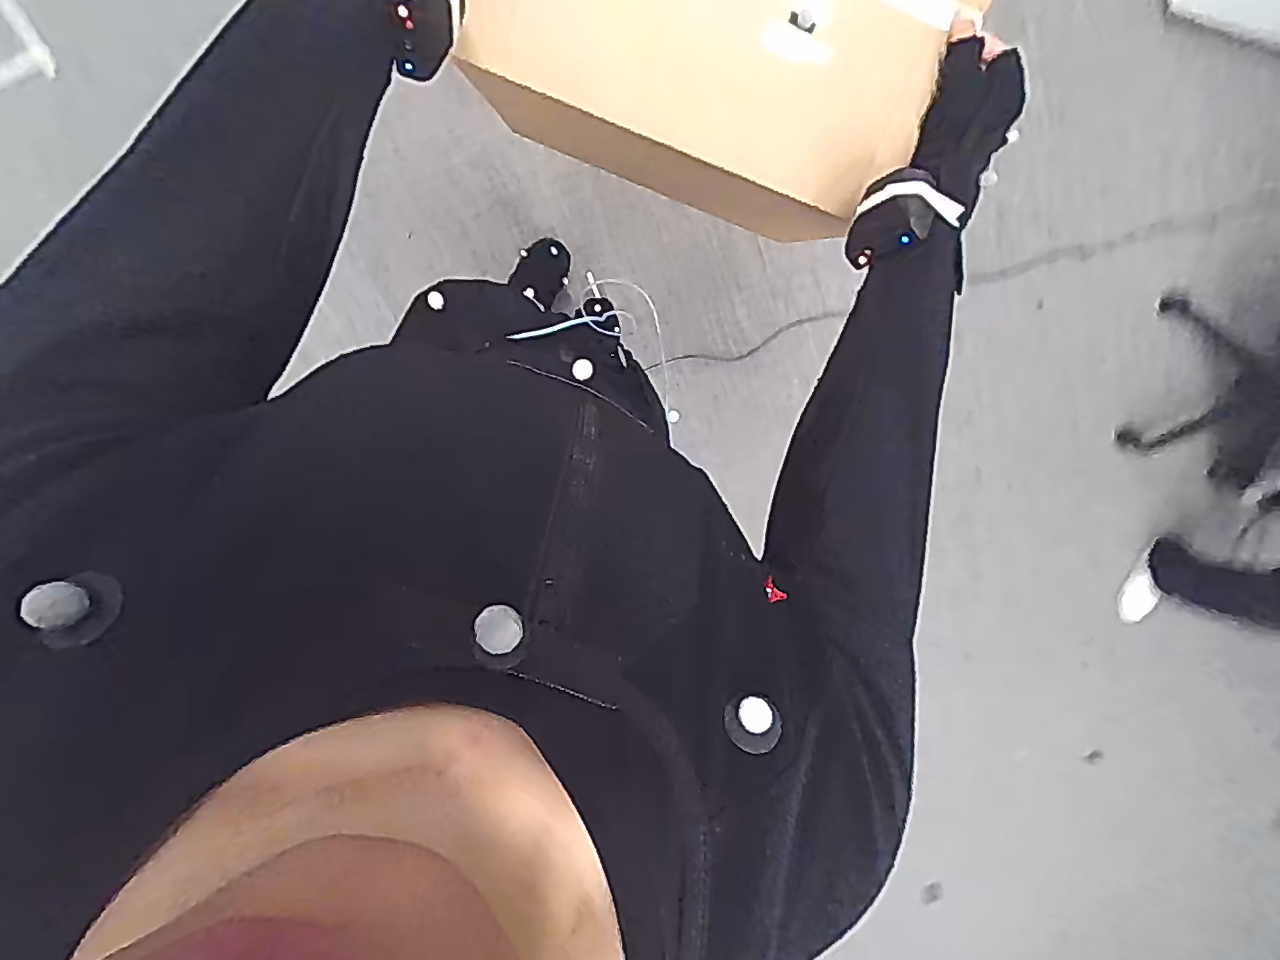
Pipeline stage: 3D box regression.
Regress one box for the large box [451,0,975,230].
[{"bbox_3d":[0.071,-0.485,0.551,0.408,0.320,0.320,17,112,-9],"label":"large box"}]
